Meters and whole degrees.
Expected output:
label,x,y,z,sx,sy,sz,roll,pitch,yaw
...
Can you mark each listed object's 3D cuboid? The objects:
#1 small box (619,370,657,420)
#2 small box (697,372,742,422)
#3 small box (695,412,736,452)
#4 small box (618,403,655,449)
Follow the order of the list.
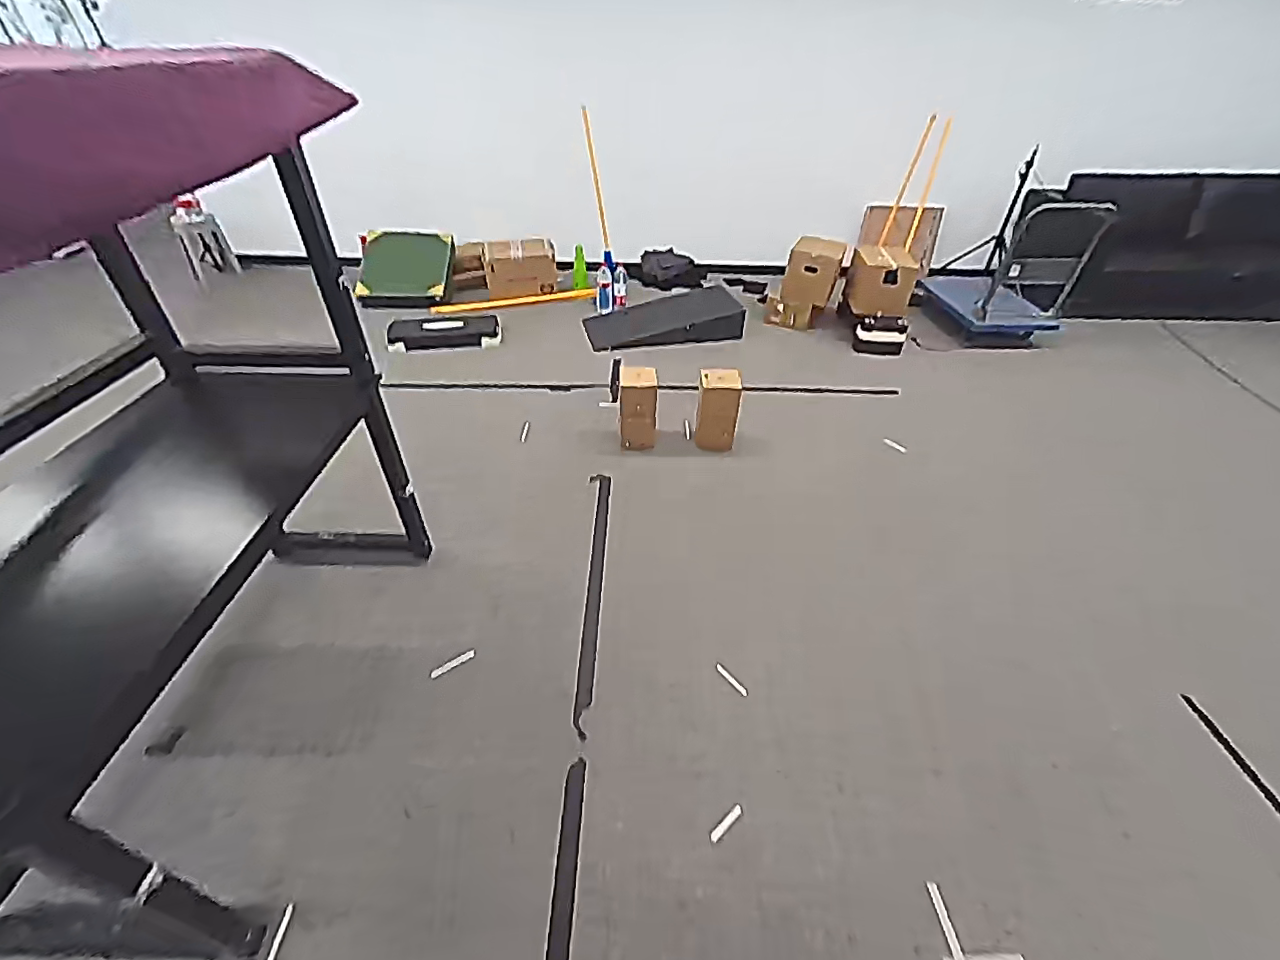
label,x,y,z,sx,sy,sz,roll,pitch,yaw
small box,-0.011,-0.392,2.481,0.168,0.176,0.179,-1,39,-3
small box,0.362,-0.378,2.487,0.179,0.176,0.168,3,38,0
small box,0.358,-0.249,2.588,0.179,0.176,0.168,3,39,2
small box,-0.017,-0.258,2.578,0.168,0.176,0.179,-2,38,-5
